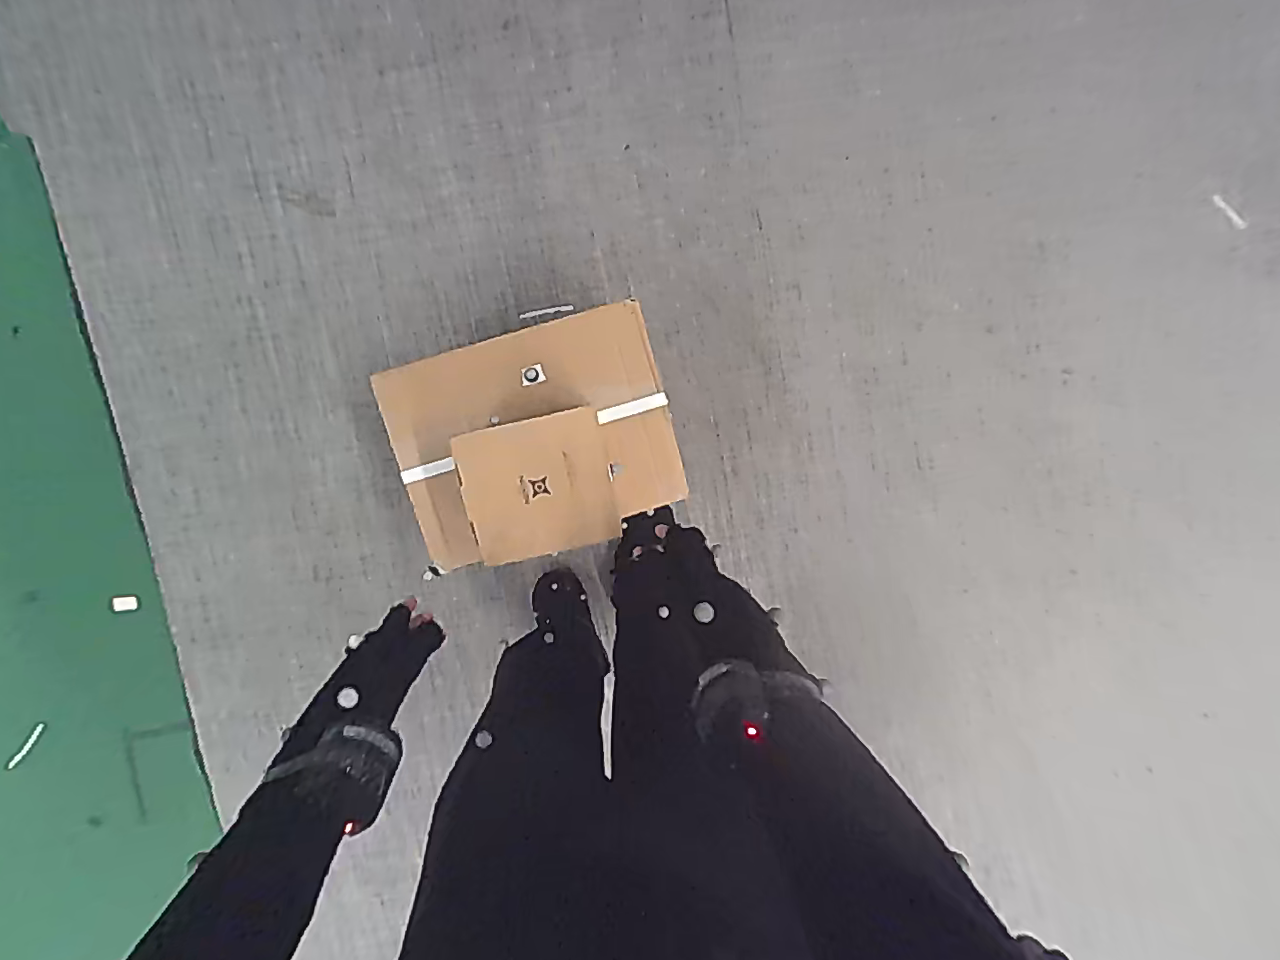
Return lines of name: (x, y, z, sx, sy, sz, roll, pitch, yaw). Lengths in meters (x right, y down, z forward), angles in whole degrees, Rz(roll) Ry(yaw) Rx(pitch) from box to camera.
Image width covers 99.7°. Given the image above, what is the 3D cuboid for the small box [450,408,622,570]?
small box: (-0.125, 0.003, 0.723, 0.179, 0.176, 0.168, -14, 98, -1)
